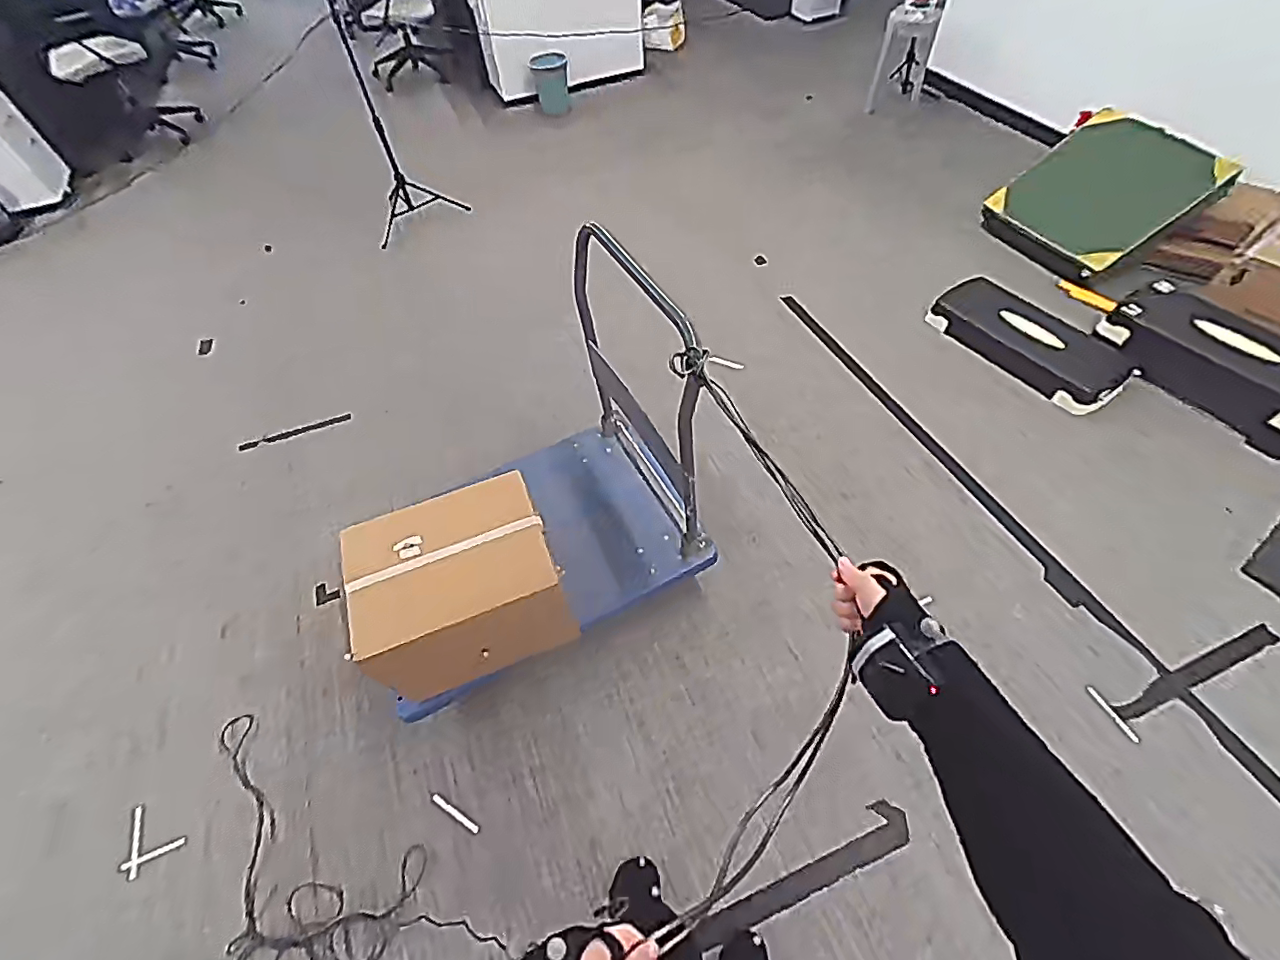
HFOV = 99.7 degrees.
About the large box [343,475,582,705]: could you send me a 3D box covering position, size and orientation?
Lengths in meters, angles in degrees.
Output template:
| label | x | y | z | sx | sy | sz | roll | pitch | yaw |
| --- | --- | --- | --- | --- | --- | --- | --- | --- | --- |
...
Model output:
| label | x | y | z | sx | sy | sz | roll | pitch | yaw |
| --- | --- | --- | --- | --- | --- | --- | --- | --- | --- |
| large box | -0.387 | 0.253 | 1.232 | 0.408 | 0.320 | 0.320 | -21 | 55 | -10 |
